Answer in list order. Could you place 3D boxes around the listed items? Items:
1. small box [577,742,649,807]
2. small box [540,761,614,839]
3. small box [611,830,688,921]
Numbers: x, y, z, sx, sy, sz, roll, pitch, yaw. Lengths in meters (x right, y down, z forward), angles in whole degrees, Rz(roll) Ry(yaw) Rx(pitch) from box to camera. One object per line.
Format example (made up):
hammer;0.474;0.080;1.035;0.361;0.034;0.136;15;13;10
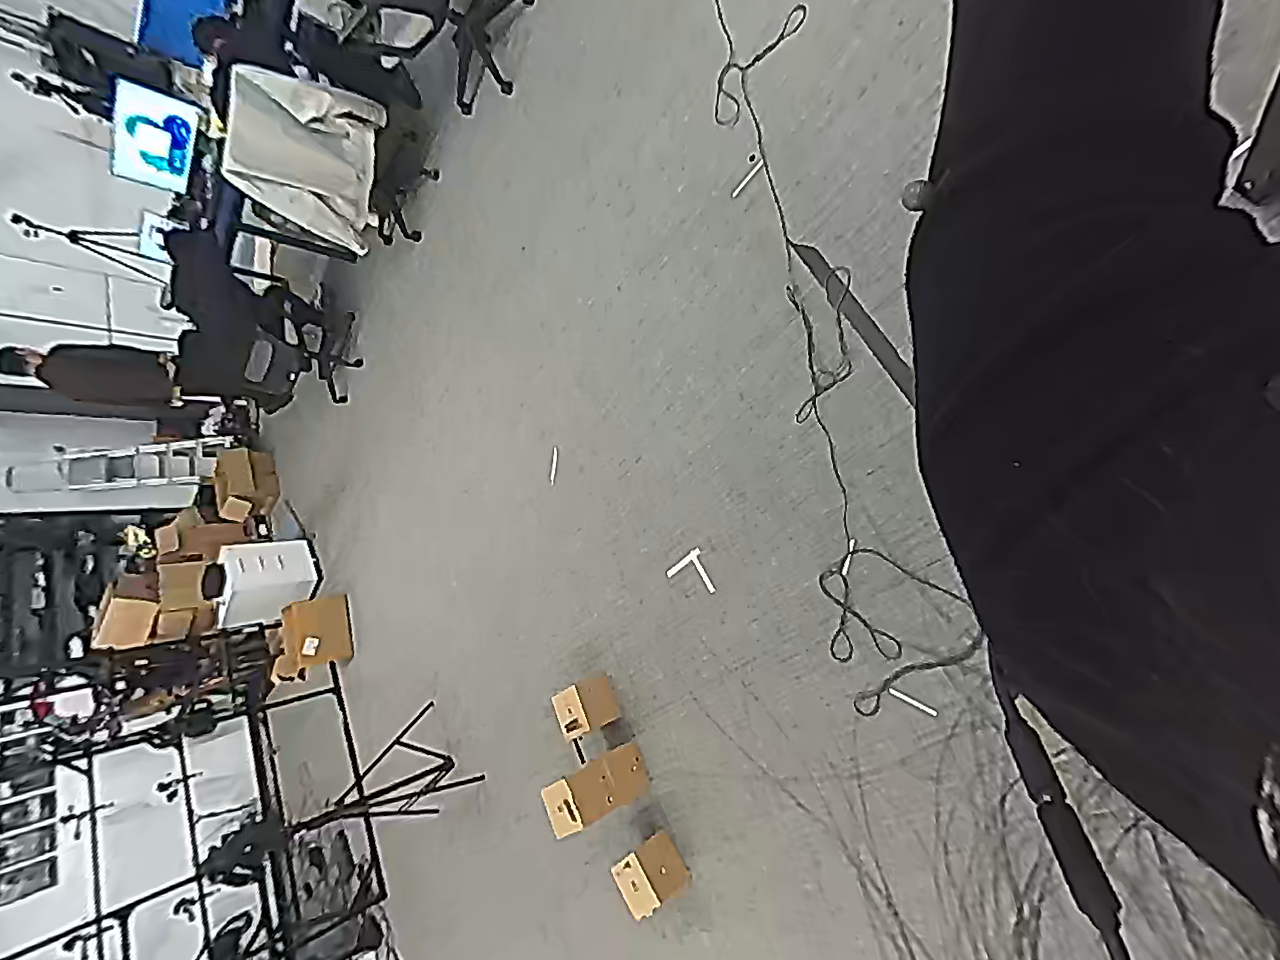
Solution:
small box;-0.100;1.106;2.015;0.179;0.176;0.168;-39;66;35
small box;-0.214;1.116;1.896;0.179;0.176;0.168;-44;63;34
small box;0.036;1.383;1.899;0.179;0.176;0.168;51;121;28
